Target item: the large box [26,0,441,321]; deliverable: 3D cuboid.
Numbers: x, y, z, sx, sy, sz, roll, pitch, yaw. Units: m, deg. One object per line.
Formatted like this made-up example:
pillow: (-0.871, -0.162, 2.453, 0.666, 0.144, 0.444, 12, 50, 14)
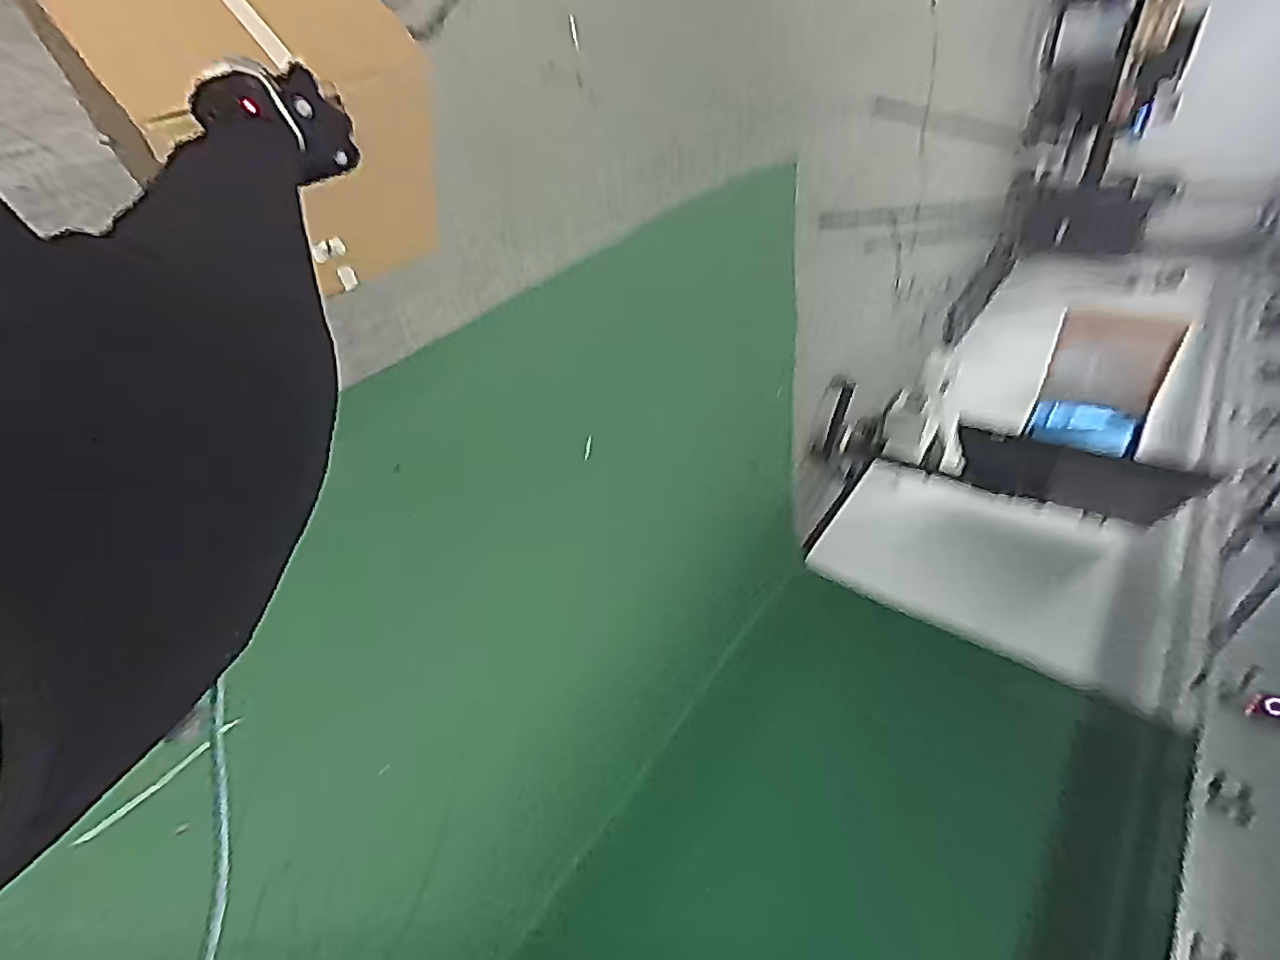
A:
large box: (-0.531, -0.509, 0.746, 0.320, 0.408, 0.320, -37, 173, -28)
